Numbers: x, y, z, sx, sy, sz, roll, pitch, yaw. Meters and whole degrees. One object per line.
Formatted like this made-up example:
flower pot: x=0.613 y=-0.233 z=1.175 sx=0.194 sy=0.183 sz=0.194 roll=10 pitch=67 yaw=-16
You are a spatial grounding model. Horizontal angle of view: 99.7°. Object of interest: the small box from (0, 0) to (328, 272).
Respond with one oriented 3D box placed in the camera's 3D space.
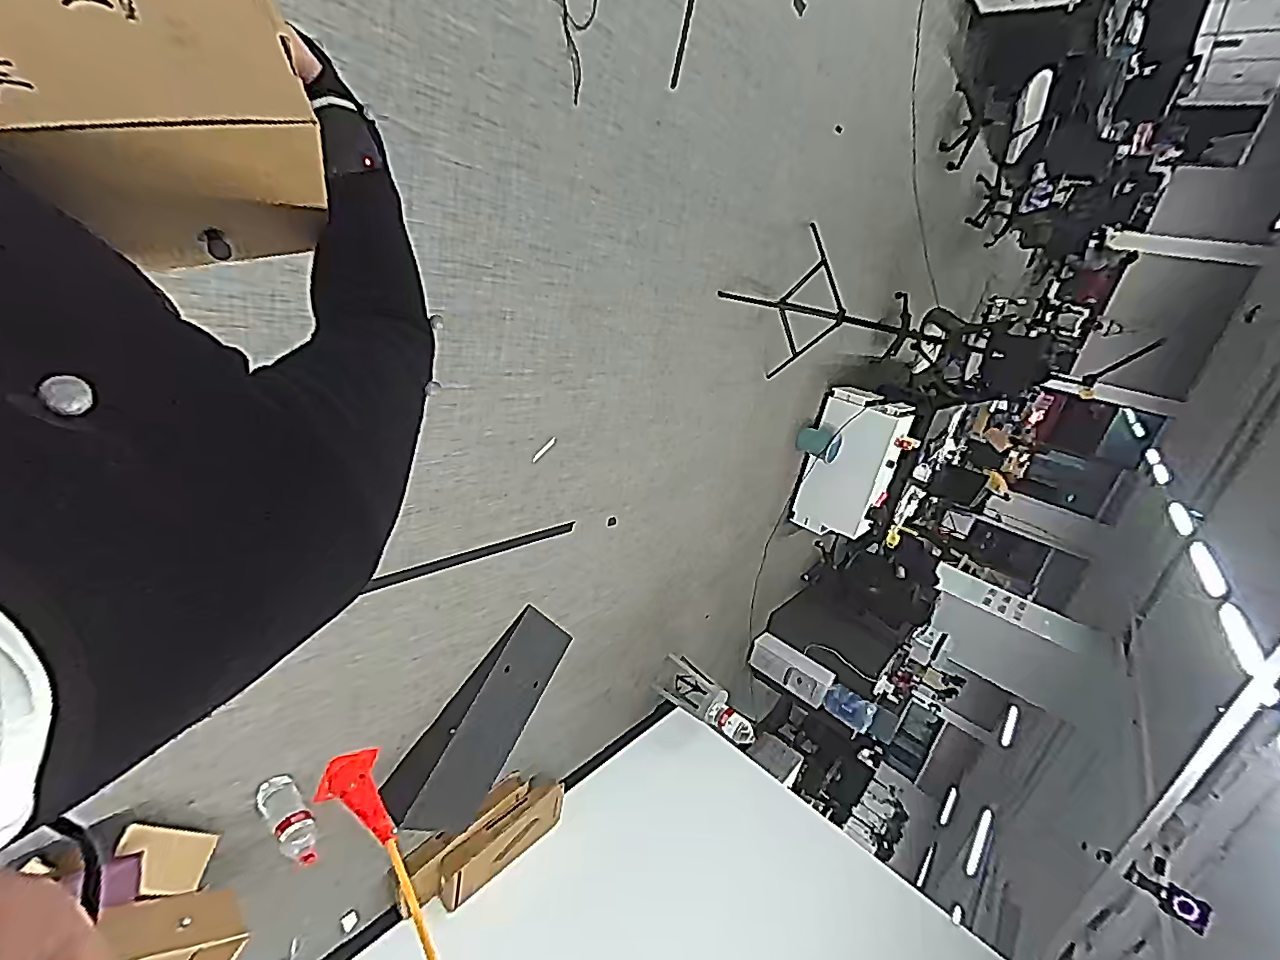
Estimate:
small box: x=-0.356 y=-0.280 z=0.406 sx=0.179 sy=0.176 sz=0.168 roll=-23 pitch=92 yaw=-28
